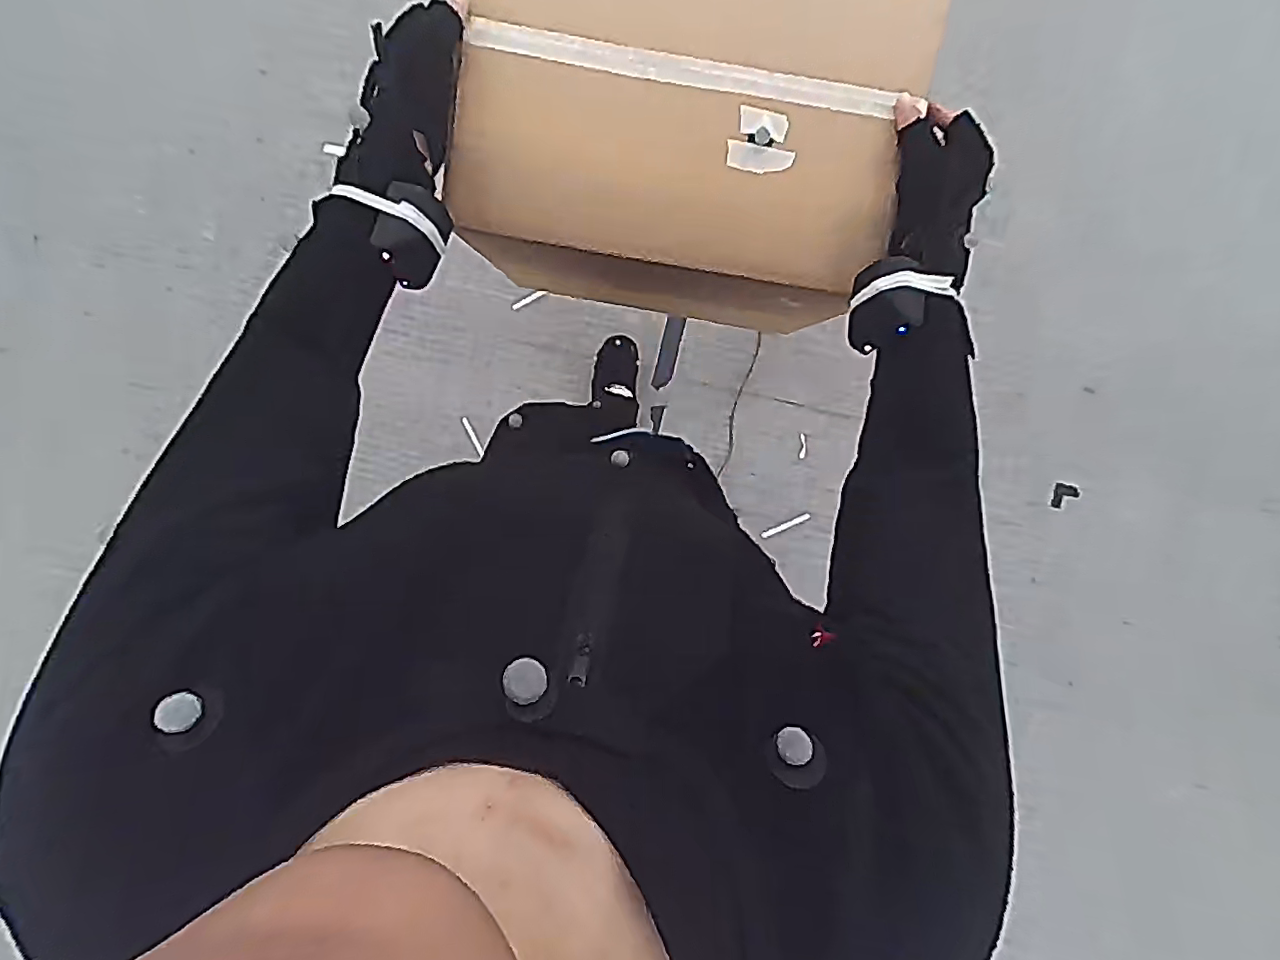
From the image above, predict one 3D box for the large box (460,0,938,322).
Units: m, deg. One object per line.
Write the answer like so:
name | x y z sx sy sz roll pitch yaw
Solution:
large box | 0.048 -0.384 0.623 0.408 0.320 0.320 9 100 -2
